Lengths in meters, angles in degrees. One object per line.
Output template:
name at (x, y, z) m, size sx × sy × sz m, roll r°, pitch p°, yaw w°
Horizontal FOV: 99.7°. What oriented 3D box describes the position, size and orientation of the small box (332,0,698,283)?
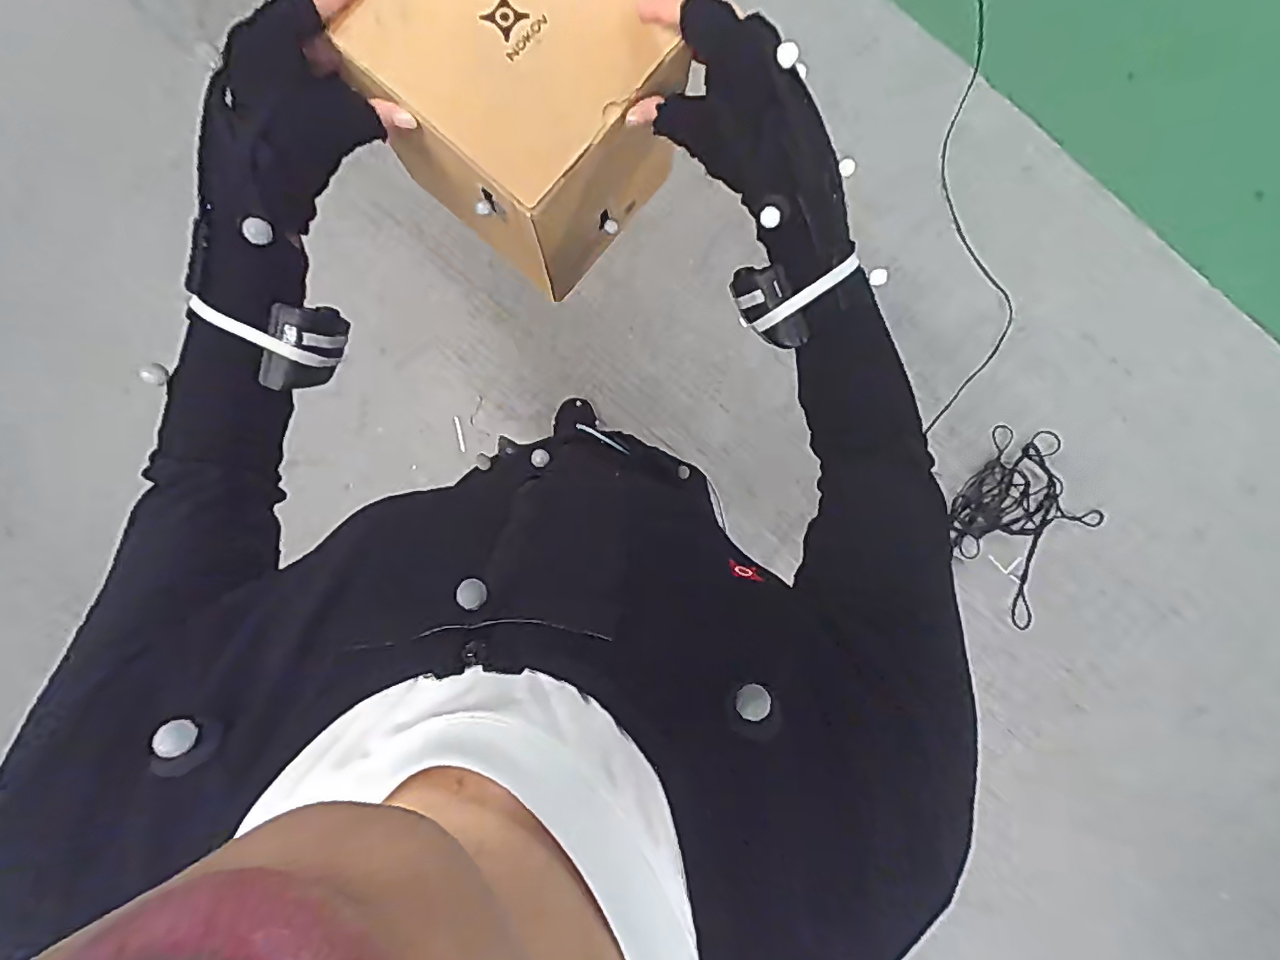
small box at (-0.084, -0.291, 0.425) m, size 0.179 × 0.176 × 0.168 m, roll 41°, pitch 88°, yaw -3°
